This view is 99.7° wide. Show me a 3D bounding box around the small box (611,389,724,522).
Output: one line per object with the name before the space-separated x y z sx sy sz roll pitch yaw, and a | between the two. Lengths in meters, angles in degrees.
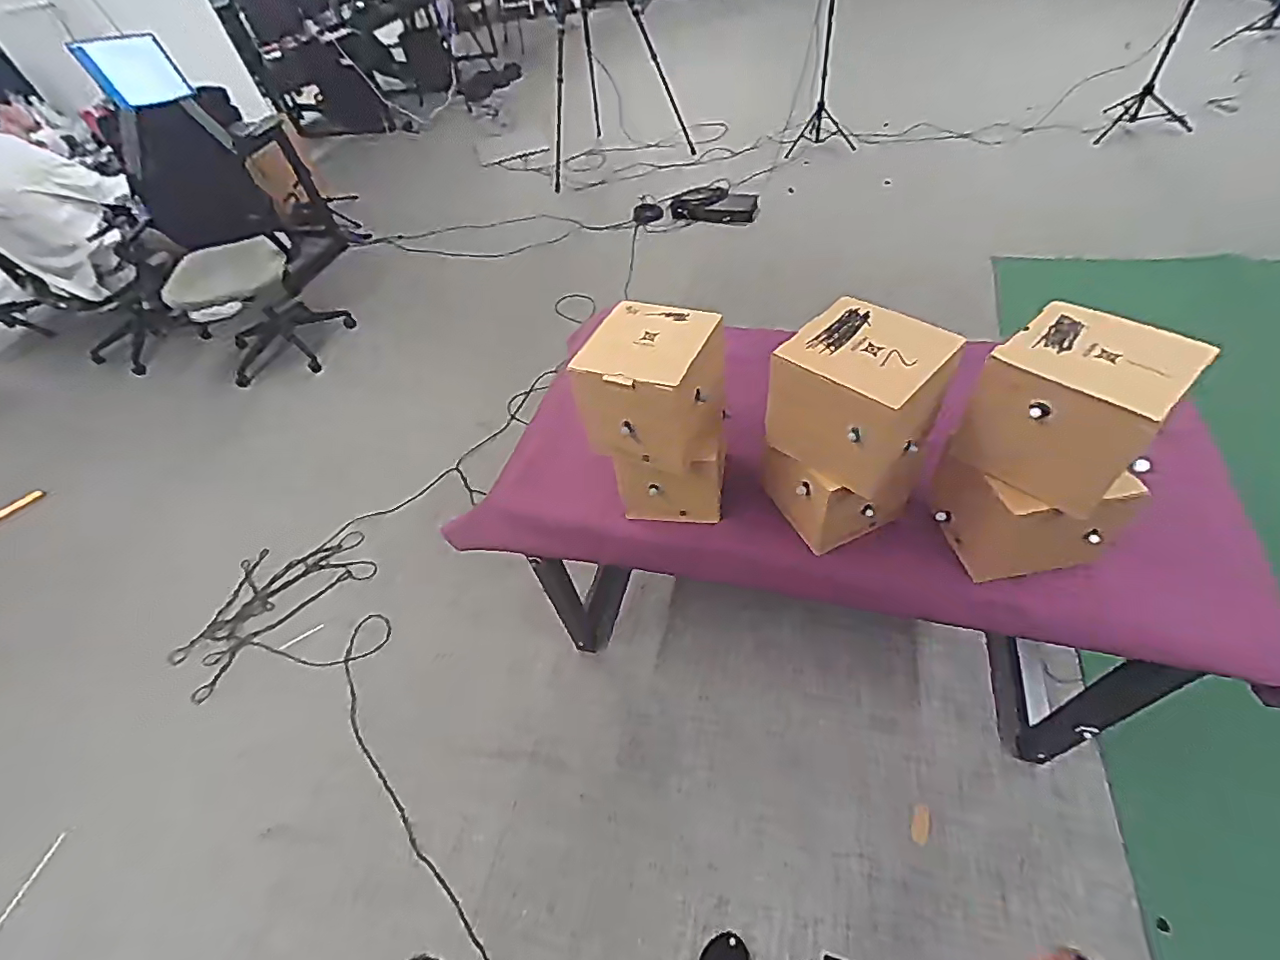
small box | 0.058 -0.042 0.942 0.168 0.176 0.179 2 49 11

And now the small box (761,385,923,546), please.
small box | 0.312 -0.016 0.874 0.168 0.176 0.179 -22 50 -10

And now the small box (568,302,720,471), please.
small box | 0.019 -0.139 0.814 0.168 0.176 0.179 16 54 21

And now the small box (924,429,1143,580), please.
small box | 0.558 0.027 0.799 0.179 0.176 0.168 -10 47 2

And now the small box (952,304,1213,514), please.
small box | 0.538 -0.090 0.685 0.168 0.176 0.179 -35 52 -21
